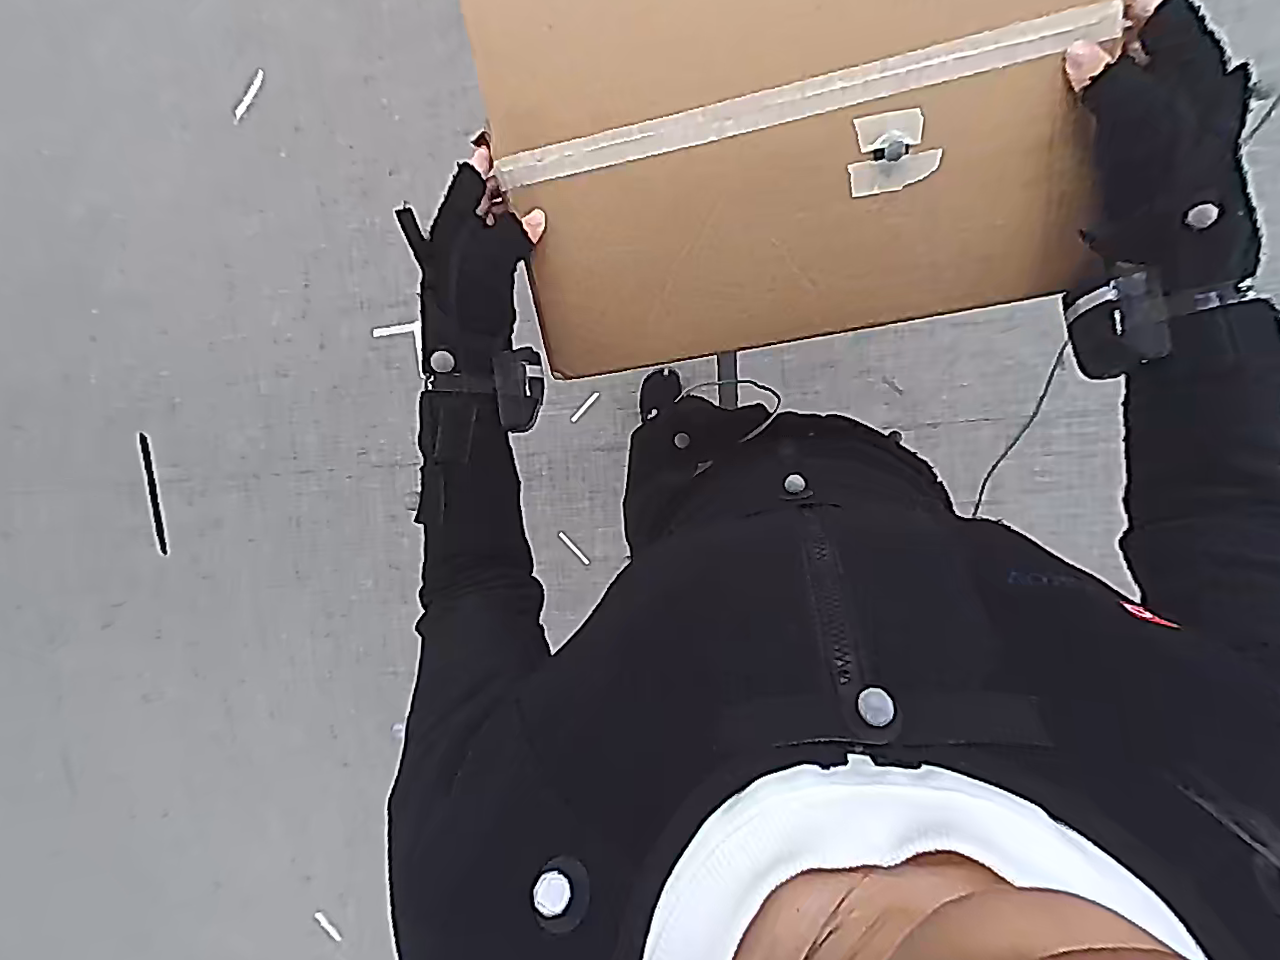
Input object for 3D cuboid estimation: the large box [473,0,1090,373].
[{"bbox_3d":[0.112,-0.309,0.523,0.408,0.320,0.320,-8,108,9],"label":"large box"}]
